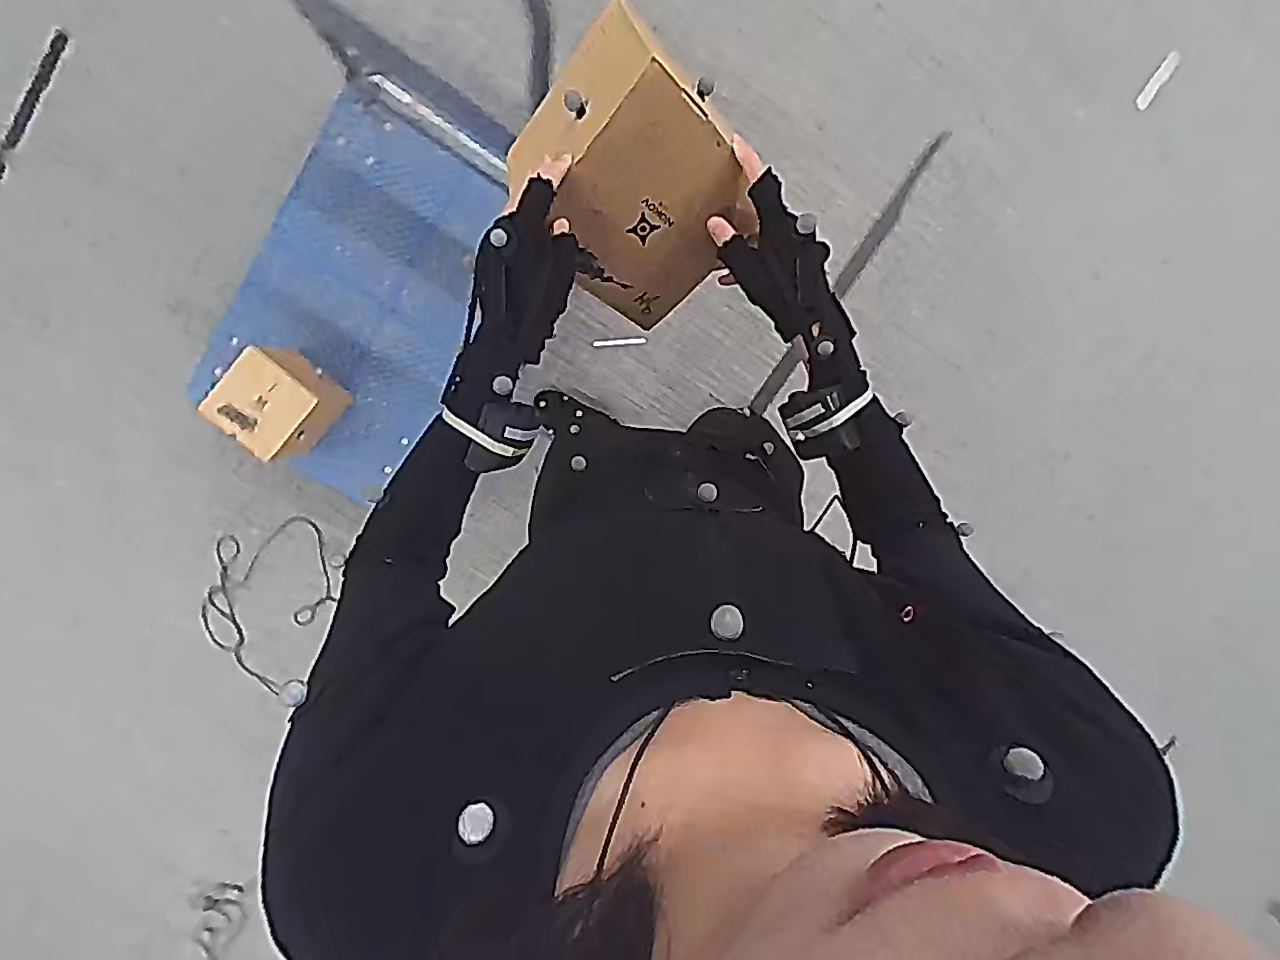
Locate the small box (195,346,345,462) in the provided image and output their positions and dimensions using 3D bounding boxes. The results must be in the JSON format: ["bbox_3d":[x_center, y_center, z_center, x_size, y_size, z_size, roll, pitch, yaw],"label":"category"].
[{"bbox_3d":[-0.779,-0.163,1.163,0.168,0.176,0.179,42,94,-10],"label":"small box"}]

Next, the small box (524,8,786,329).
[{"bbox_3d":[0.002,-0.291,0.518,0.168,0.176,0.179,25,129,-40],"label":"small box"}]
